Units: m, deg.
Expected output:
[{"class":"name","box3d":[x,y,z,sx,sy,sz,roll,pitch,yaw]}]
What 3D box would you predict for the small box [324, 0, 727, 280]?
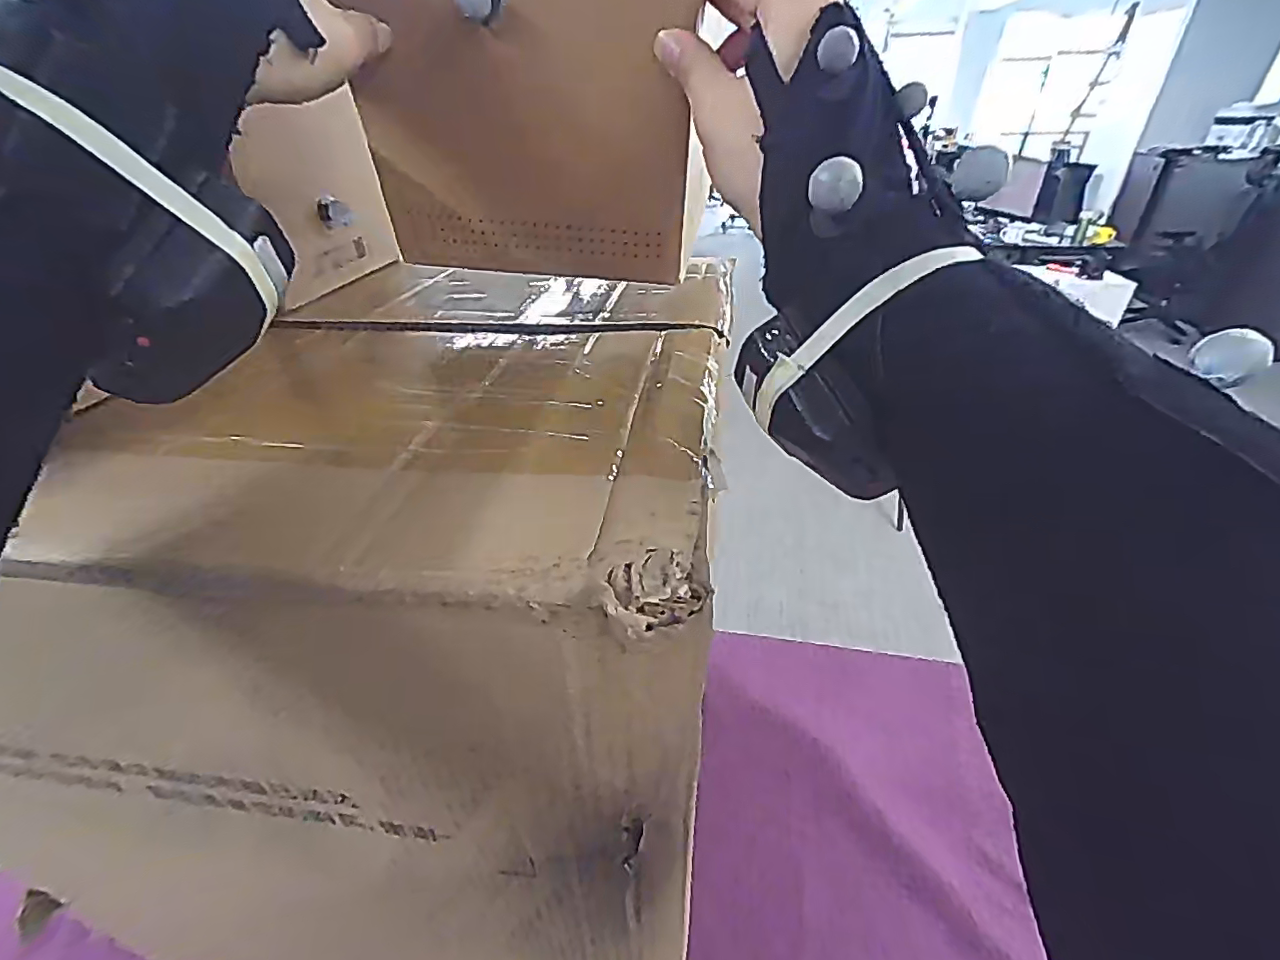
[{"class":"small box","box3d":[-0.044,-0.235,0.317,0.179,0.176,0.168,7,47,8]}]
